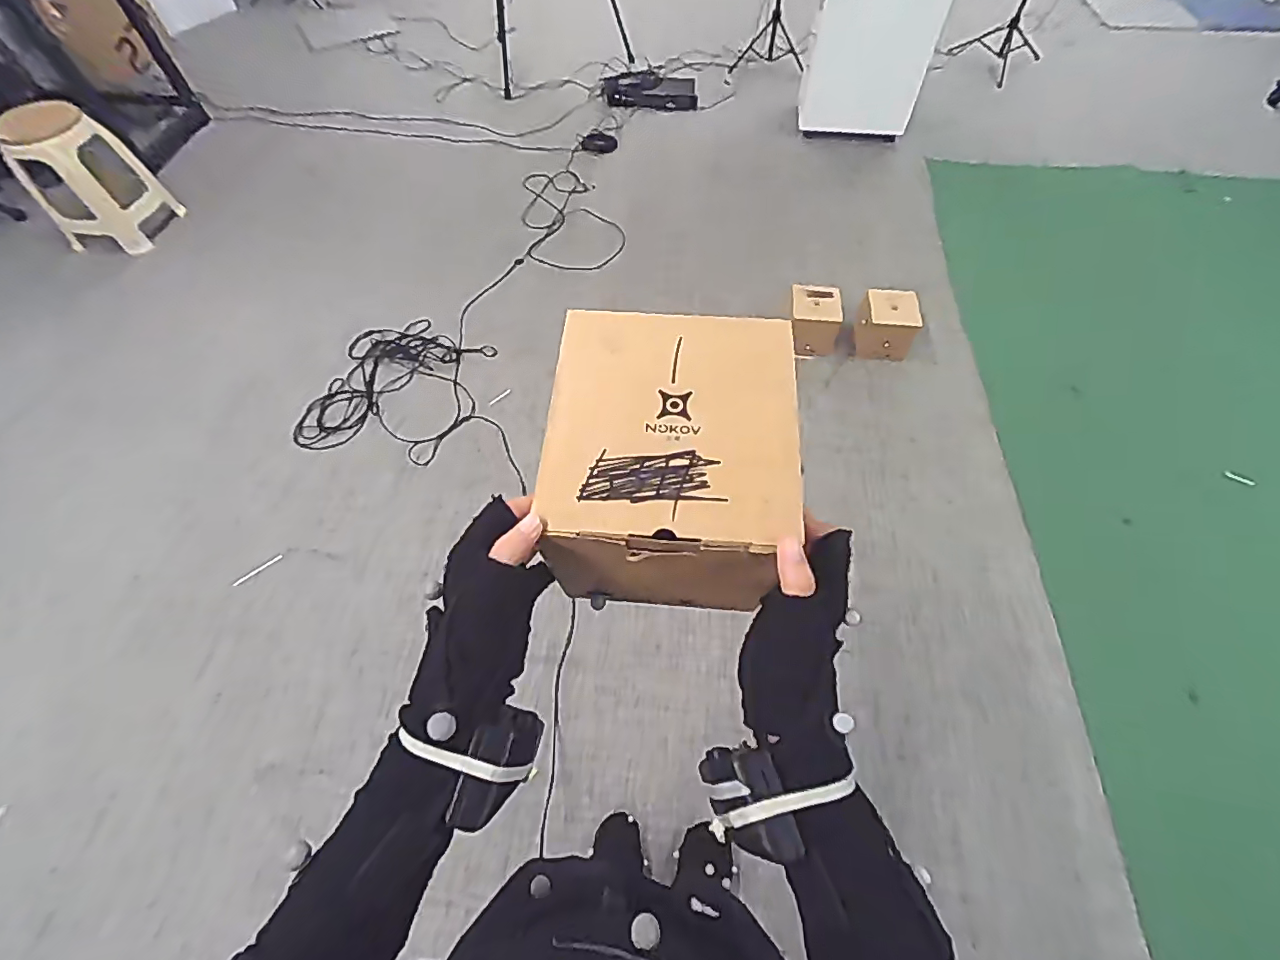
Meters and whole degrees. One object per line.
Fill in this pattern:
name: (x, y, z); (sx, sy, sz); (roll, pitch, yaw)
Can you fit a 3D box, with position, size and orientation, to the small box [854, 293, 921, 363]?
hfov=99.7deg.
small box: (0.873, -0.536, 1.923); (0.168, 0.176, 0.179); (6, 58, 4)
